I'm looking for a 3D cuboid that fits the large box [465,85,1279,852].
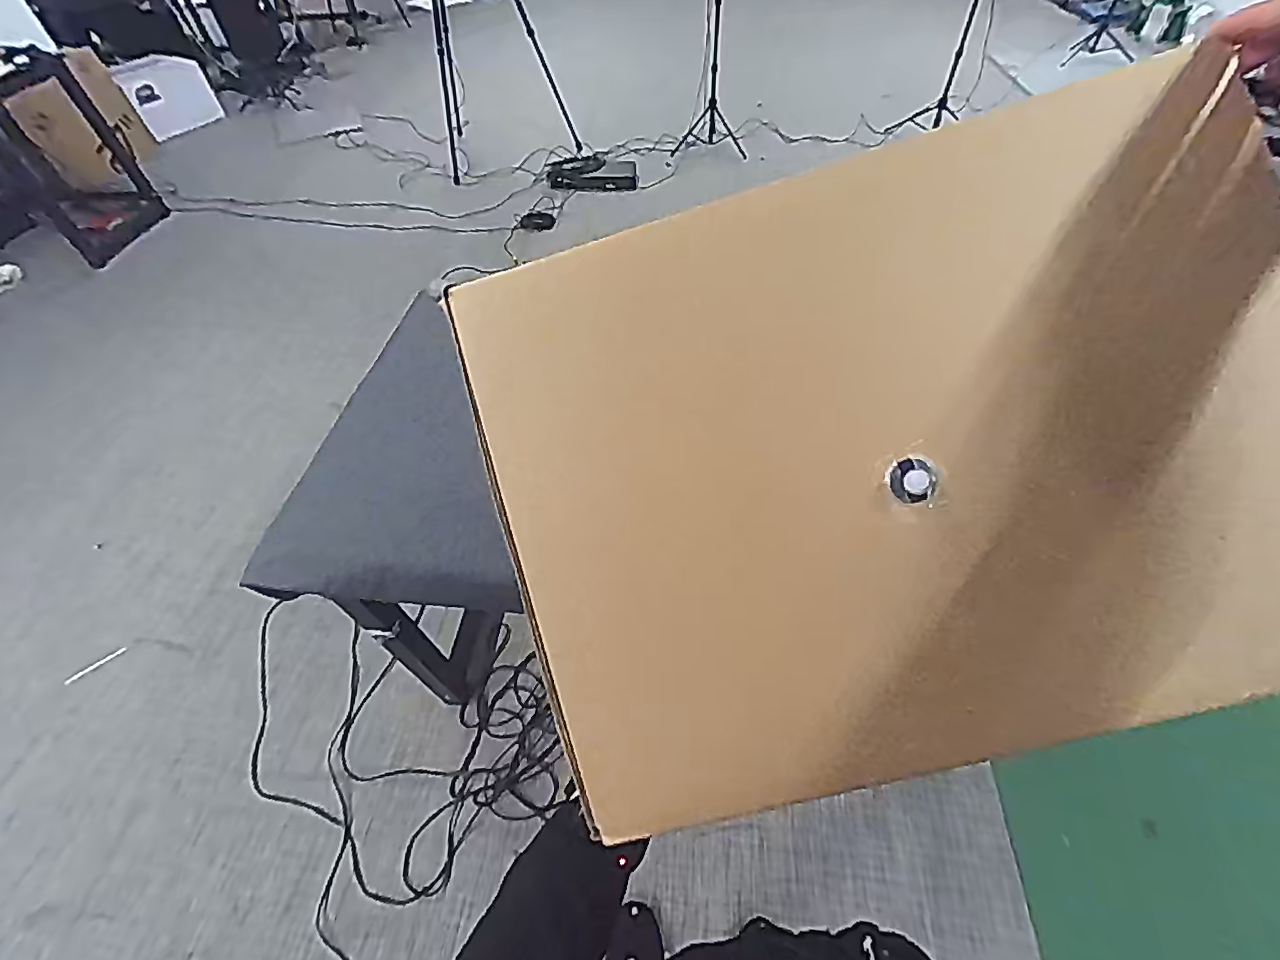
[{"bbox_3d":[0.147,0.001,0.428,0.408,0.320,0.320,-18,88,4],"label":"large box"}]
